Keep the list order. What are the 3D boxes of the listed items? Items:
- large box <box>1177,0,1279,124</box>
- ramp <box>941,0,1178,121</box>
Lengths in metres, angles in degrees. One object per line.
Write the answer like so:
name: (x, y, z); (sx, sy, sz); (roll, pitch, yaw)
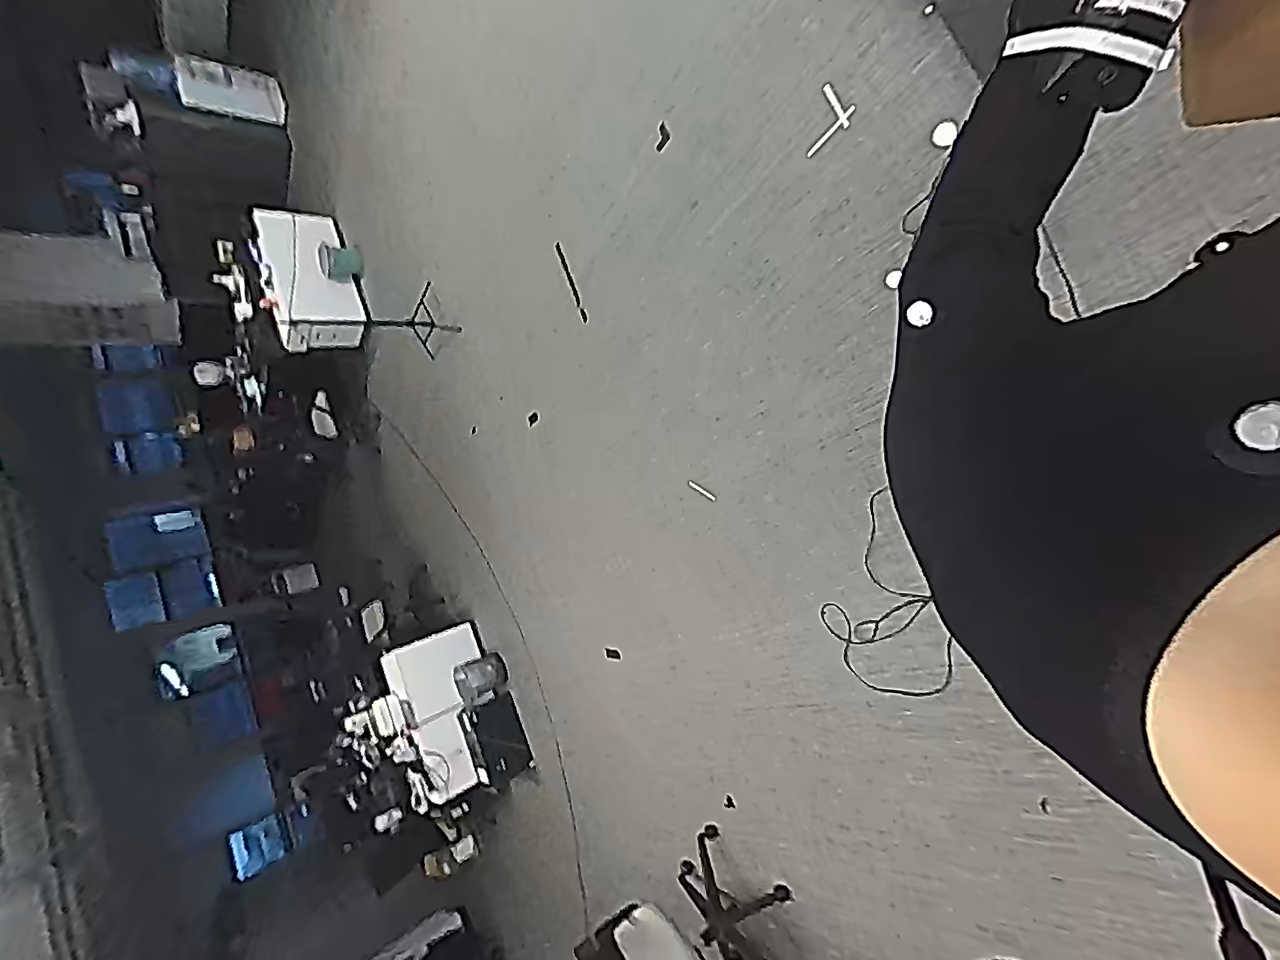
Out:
large box: (0.555, -0.422, 0.241); (0.408, 0.320, 0.320); (19, 109, 42)
ramp: (0.721, -1.292, 1.021); (0.509, 0.206, 0.991); (-35, 75, 47)
